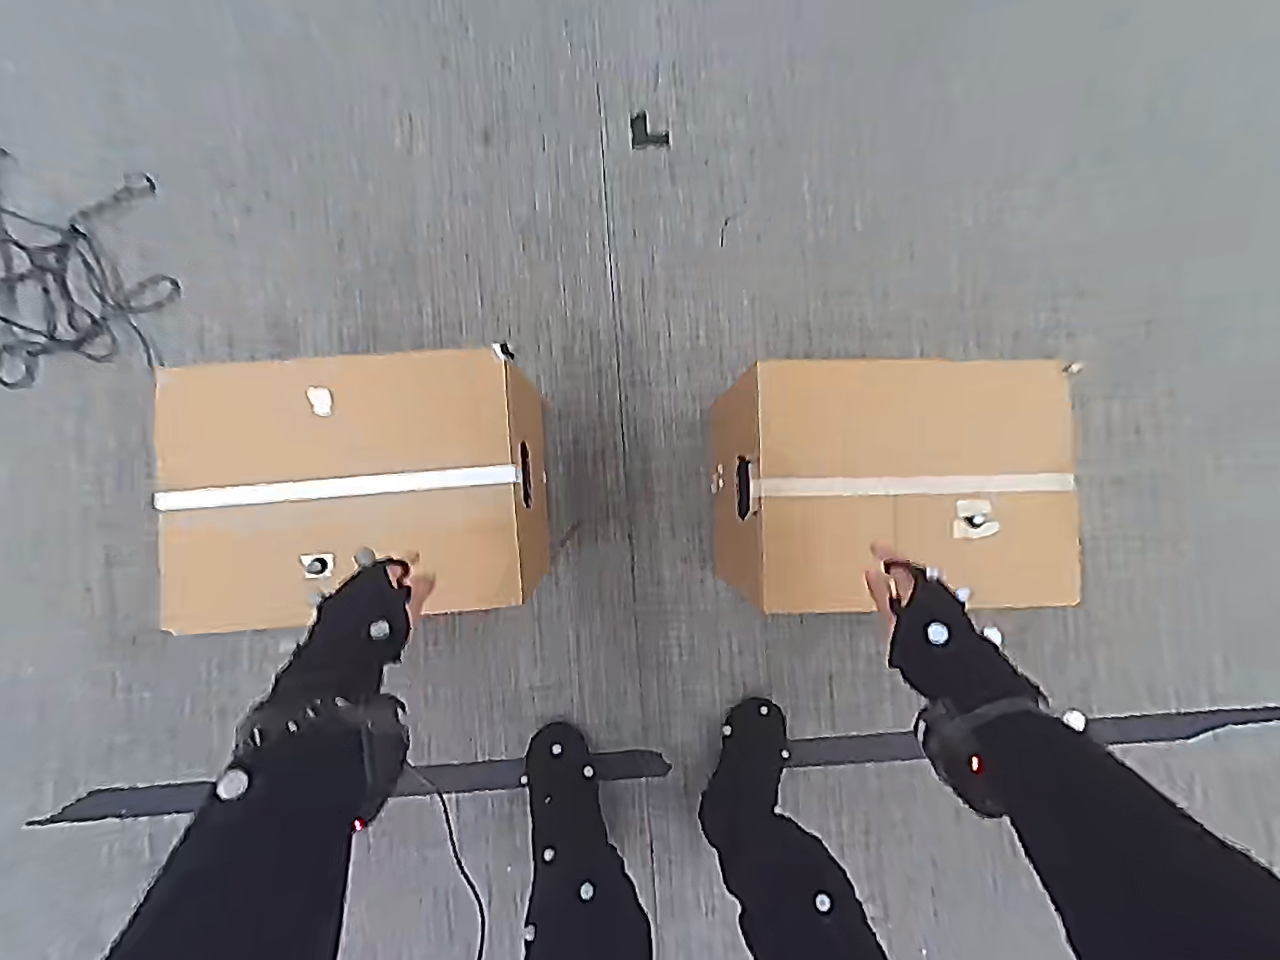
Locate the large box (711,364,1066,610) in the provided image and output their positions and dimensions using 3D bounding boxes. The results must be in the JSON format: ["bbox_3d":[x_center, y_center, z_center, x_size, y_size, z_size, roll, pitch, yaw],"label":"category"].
[{"bbox_3d":[0.339,0.013,0.840,0.408,0.320,0.320,0,88,-4],"label":"large box"}]
